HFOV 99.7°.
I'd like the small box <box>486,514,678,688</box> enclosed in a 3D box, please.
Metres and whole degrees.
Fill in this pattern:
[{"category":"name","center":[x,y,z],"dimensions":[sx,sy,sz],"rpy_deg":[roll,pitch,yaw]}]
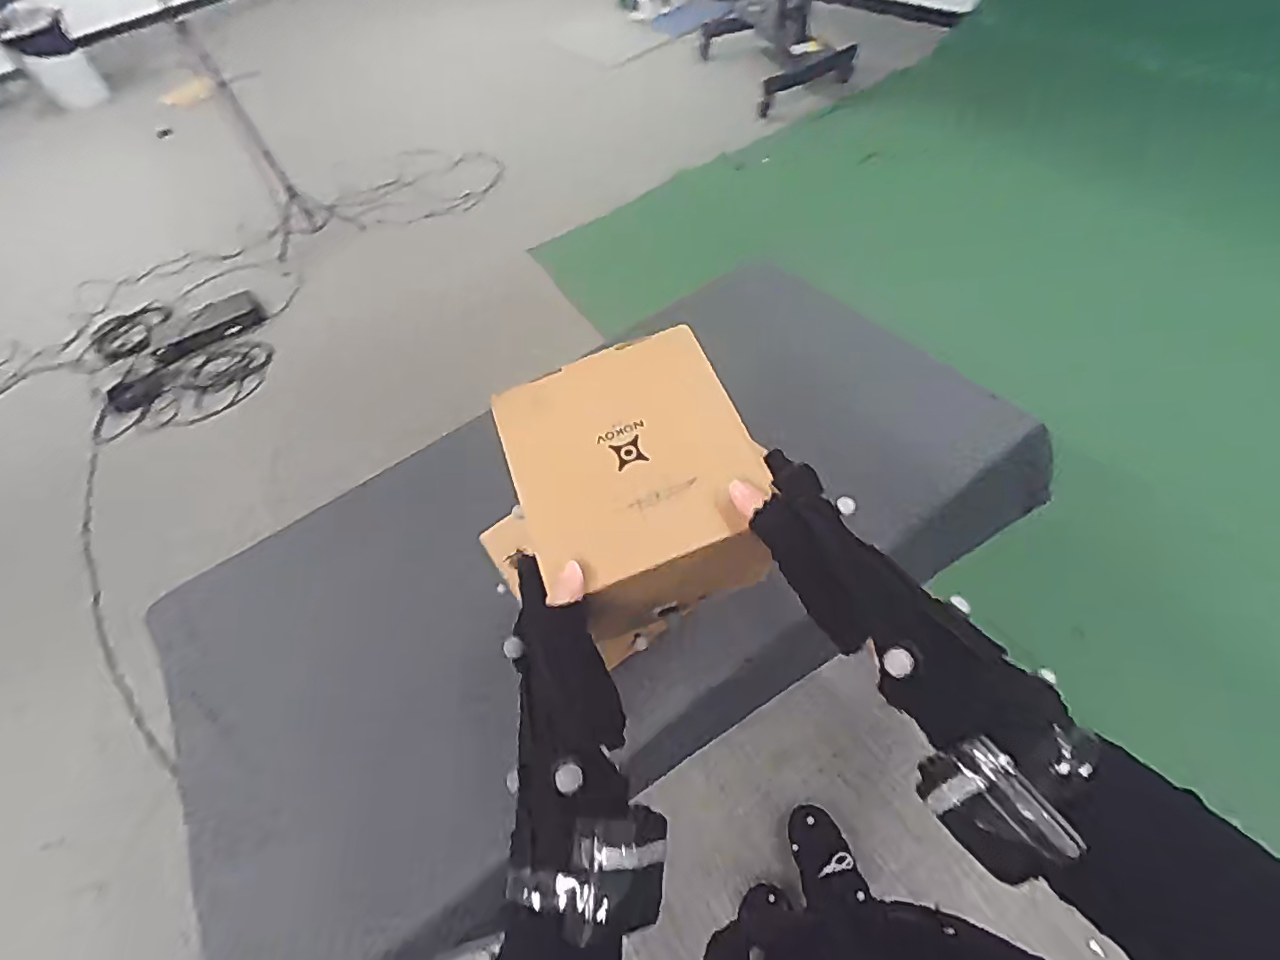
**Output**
[{"category":"small box","center":[-0.054,0.122,0.666],"dimensions":[0.179,0.176,0.168],"rpy_deg":[-33,56,-14]}]

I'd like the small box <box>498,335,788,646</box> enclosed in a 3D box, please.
[{"category":"small box","center":[0.002,0.019,0.450],"dimensions":[0.168,0.176,0.179],"rpy_deg":[-20,64,-2]}]
